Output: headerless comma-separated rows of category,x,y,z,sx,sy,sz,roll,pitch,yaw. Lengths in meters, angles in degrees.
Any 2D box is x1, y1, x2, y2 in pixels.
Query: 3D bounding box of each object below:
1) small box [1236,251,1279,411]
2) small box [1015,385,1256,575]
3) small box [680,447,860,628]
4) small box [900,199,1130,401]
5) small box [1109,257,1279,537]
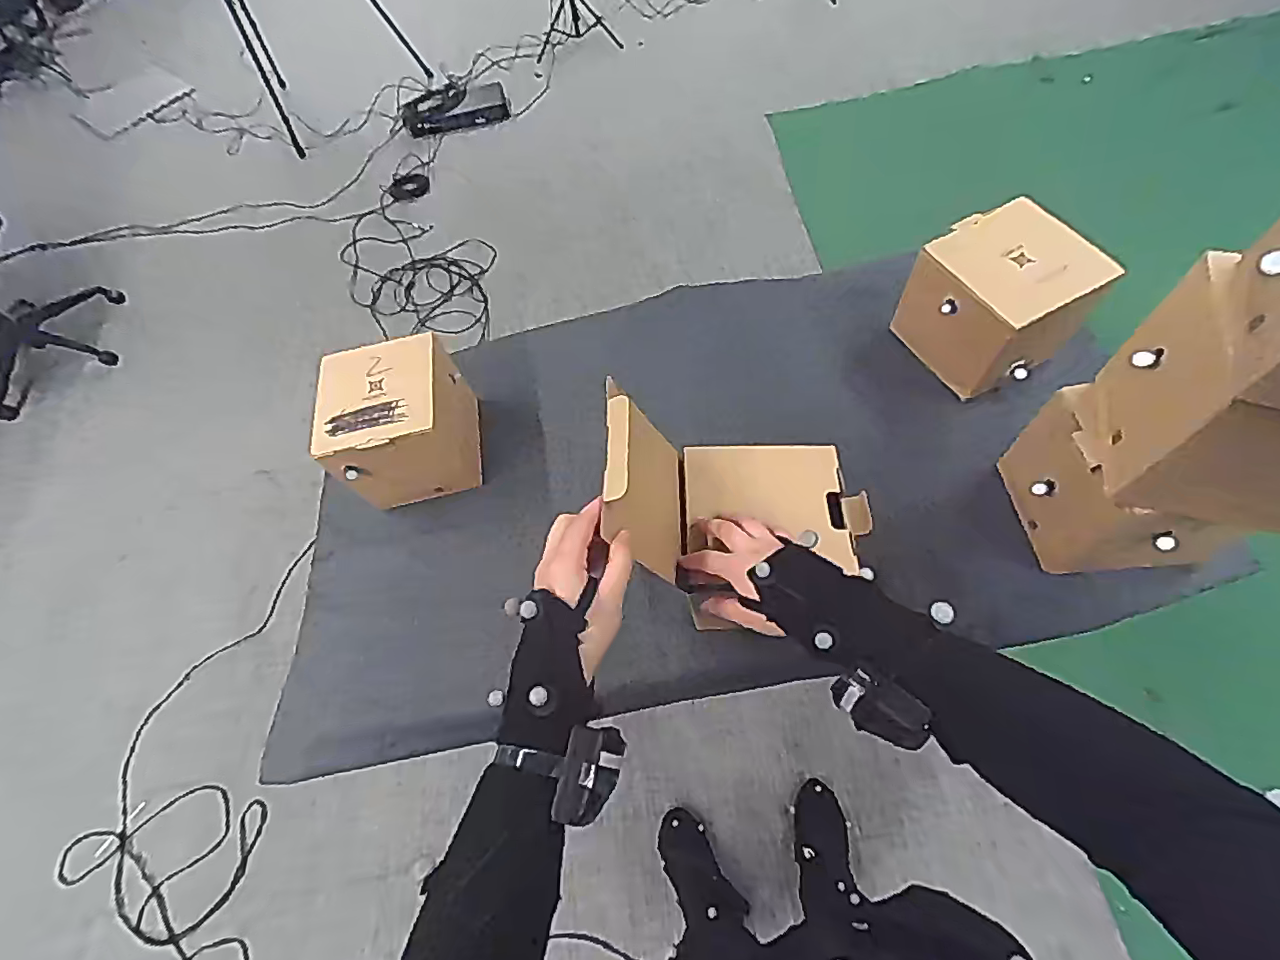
small box,0.534,-0.126,0.321,0.179,0.176,0.168,23,66,20
small box,0.572,0.002,0.623,0.179,0.176,0.168,-6,59,6
small box,0.146,0.078,0.647,0.179,0.176,0.168,-4,63,9
small box,0.504,-0.246,0.764,0.168,0.176,0.179,-27,64,-3
small box,0.555,-0.065,0.474,0.179,0.176,0.168,13,63,15
